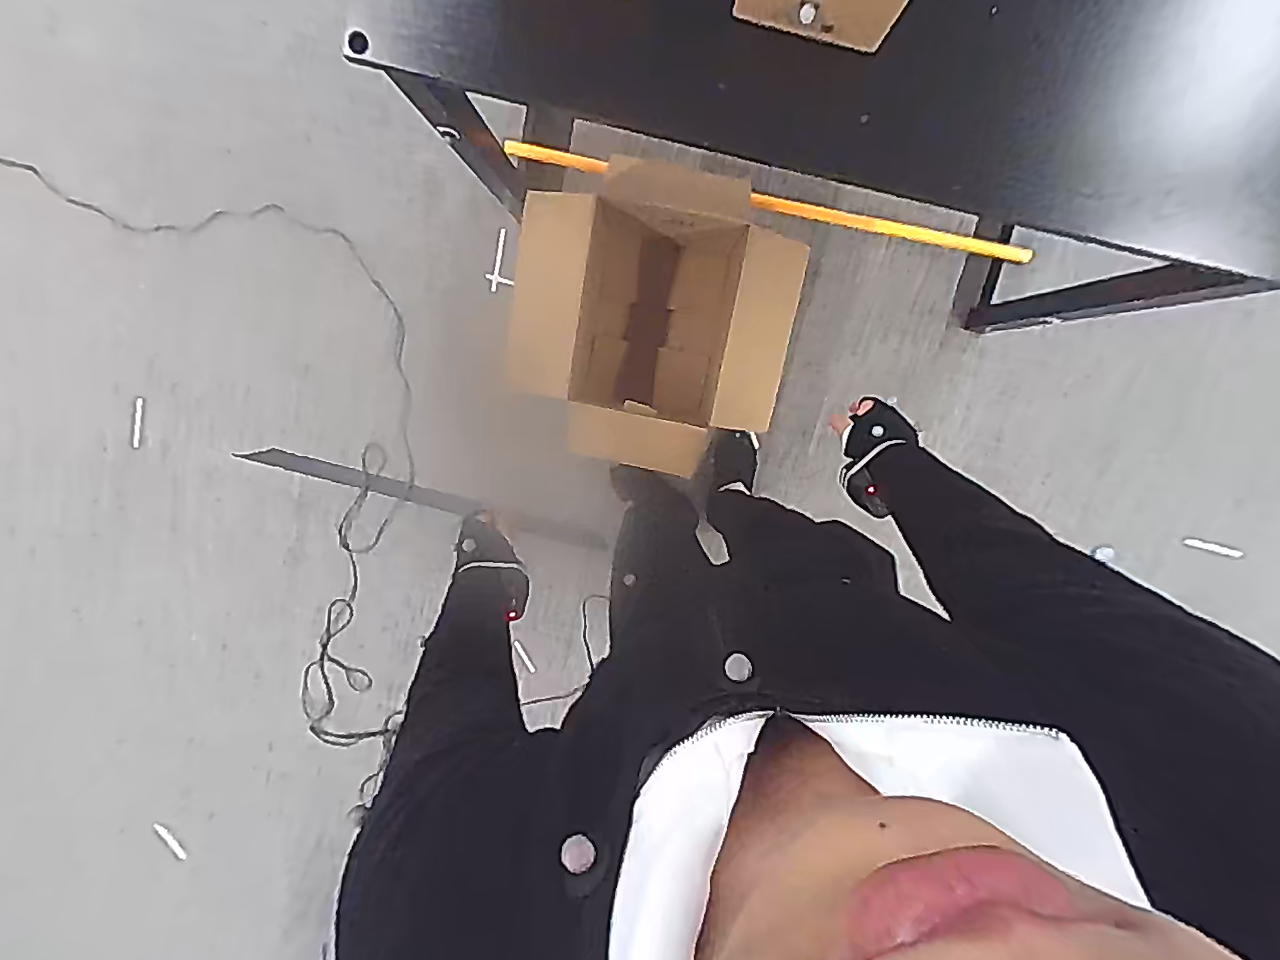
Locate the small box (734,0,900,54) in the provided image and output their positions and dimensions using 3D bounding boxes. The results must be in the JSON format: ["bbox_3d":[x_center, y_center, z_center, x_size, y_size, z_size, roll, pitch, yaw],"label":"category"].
[{"bbox_3d":[0.196,-0.566,0.514,0.168,0.176,0.179,14,101,-1],"label":"small box"}]
